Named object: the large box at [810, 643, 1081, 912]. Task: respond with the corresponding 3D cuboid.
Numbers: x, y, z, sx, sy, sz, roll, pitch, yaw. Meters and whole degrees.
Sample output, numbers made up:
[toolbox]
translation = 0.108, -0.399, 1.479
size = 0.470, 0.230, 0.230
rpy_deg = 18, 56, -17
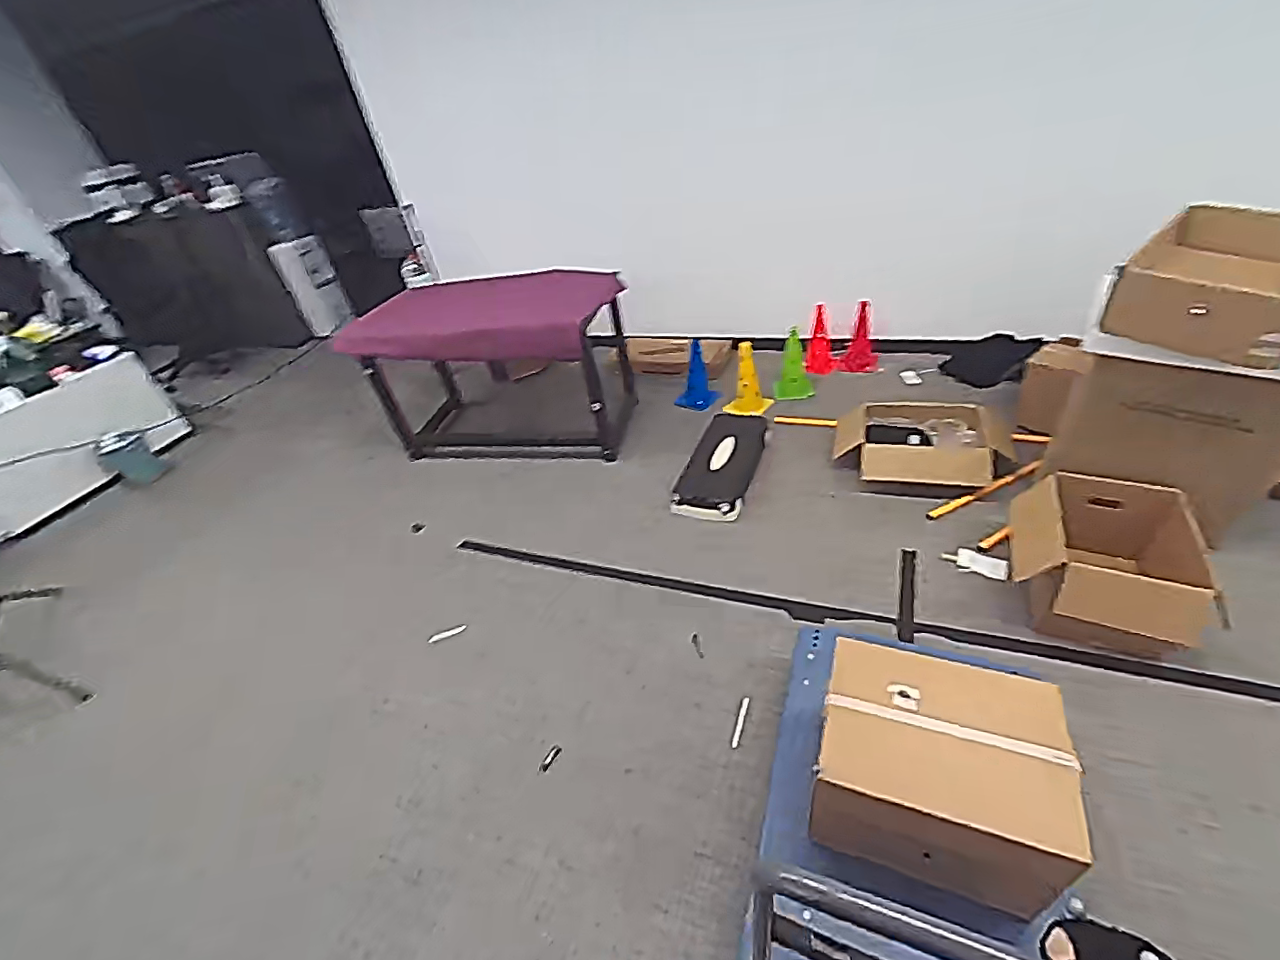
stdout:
[large box]
translation = 0.578, 0.588, 1.101
size = 0.408, 0.320, 0.320
rpy_deg = 7, 40, 23
